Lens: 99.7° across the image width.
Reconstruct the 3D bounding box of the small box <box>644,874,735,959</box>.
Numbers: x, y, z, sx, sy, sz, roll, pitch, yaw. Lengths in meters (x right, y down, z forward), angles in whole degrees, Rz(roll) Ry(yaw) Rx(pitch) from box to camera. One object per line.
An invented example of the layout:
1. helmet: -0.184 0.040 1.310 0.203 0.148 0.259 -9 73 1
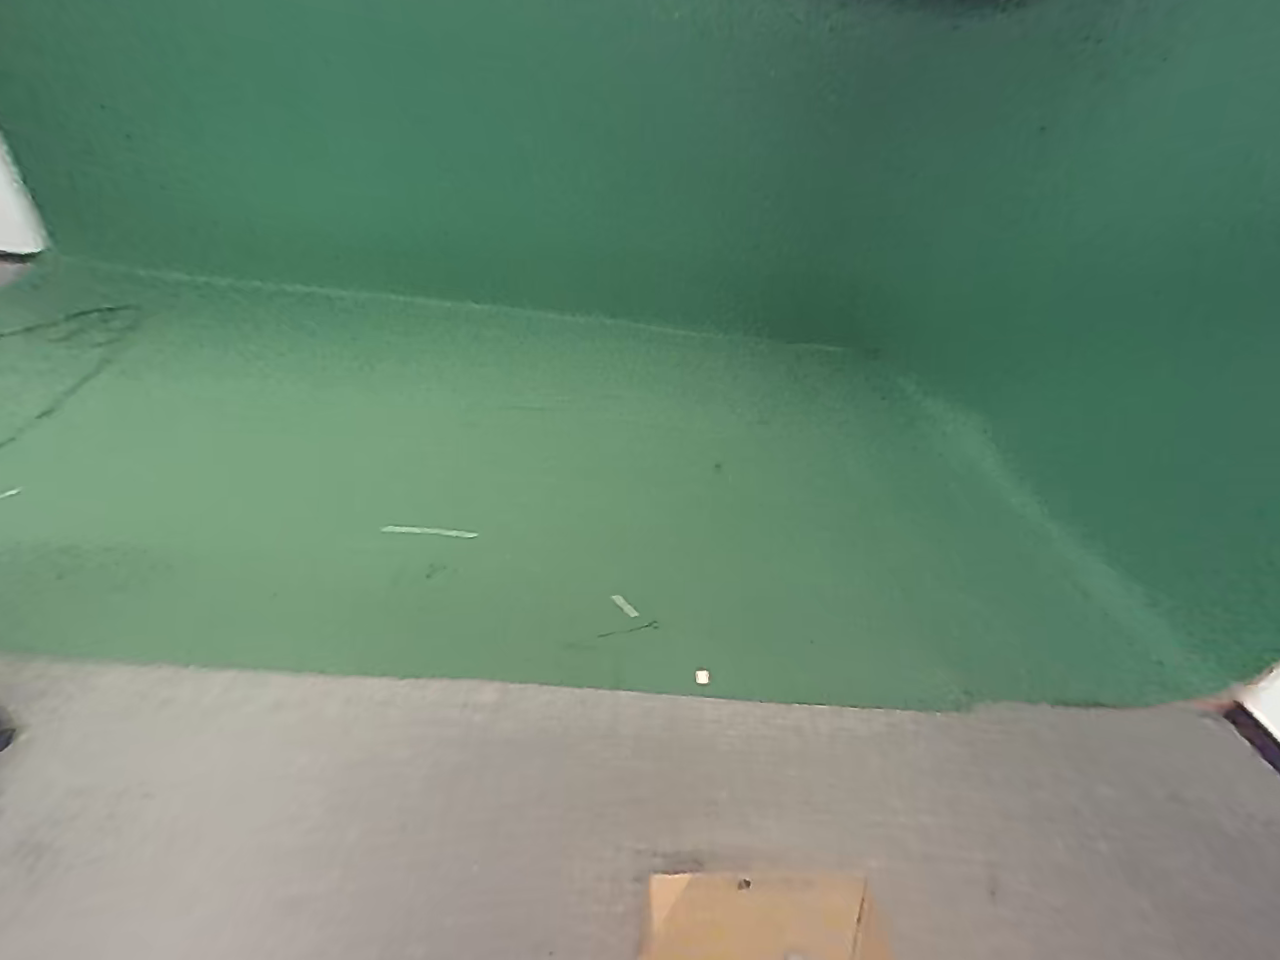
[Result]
1. small box: 0.100 0.978 1.161 0.168 0.176 0.179 5 37 -5
